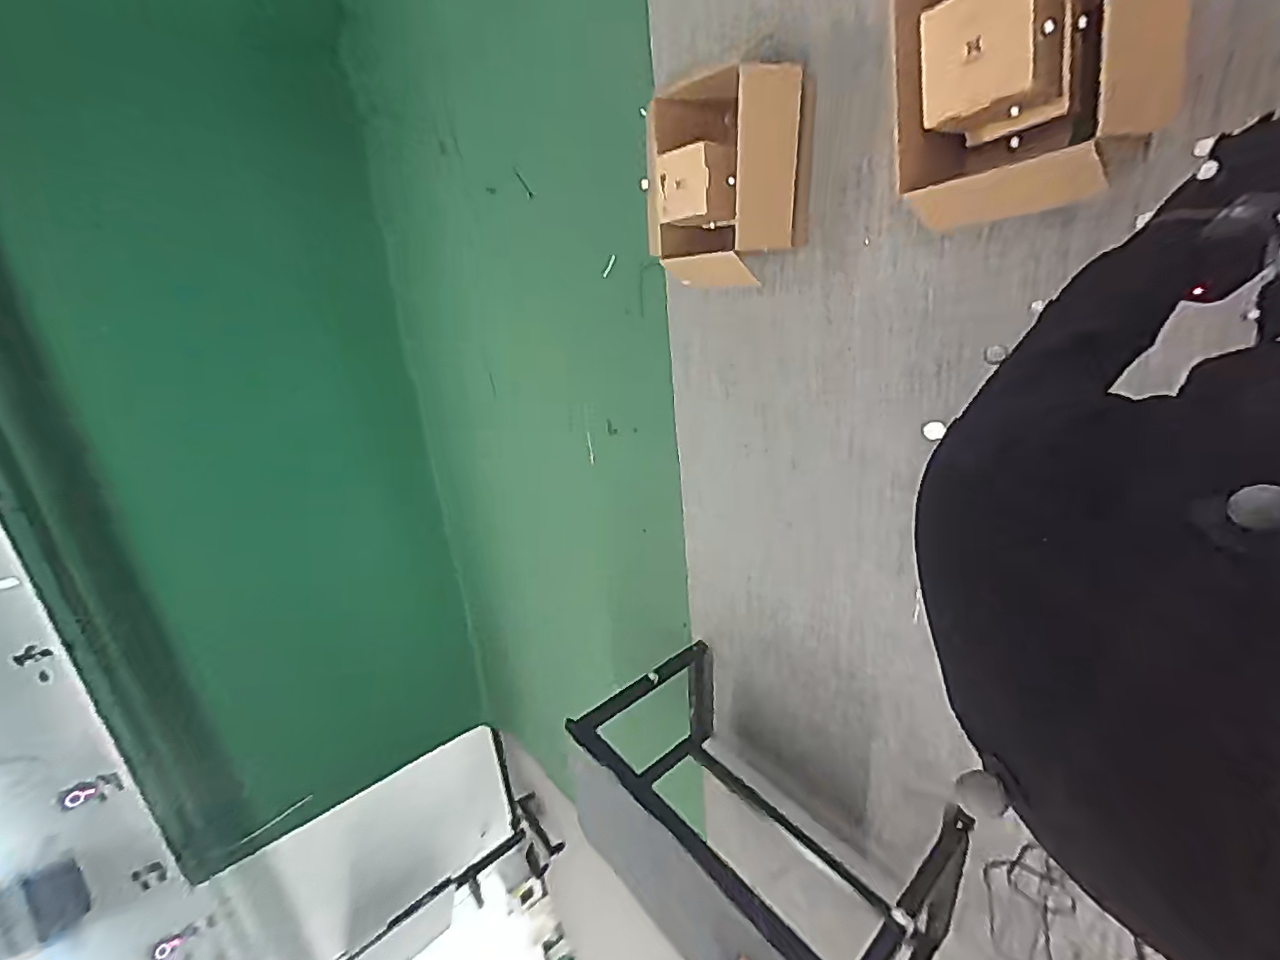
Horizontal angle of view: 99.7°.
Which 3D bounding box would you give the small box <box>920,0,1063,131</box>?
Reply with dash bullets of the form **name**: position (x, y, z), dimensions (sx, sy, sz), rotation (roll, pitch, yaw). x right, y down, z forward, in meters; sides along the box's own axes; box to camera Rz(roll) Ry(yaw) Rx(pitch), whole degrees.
- **small box**: position (0.606, -0.726, 0.933), dimensions (0.168, 0.176, 0.179), rotation (8, 114, 50)
